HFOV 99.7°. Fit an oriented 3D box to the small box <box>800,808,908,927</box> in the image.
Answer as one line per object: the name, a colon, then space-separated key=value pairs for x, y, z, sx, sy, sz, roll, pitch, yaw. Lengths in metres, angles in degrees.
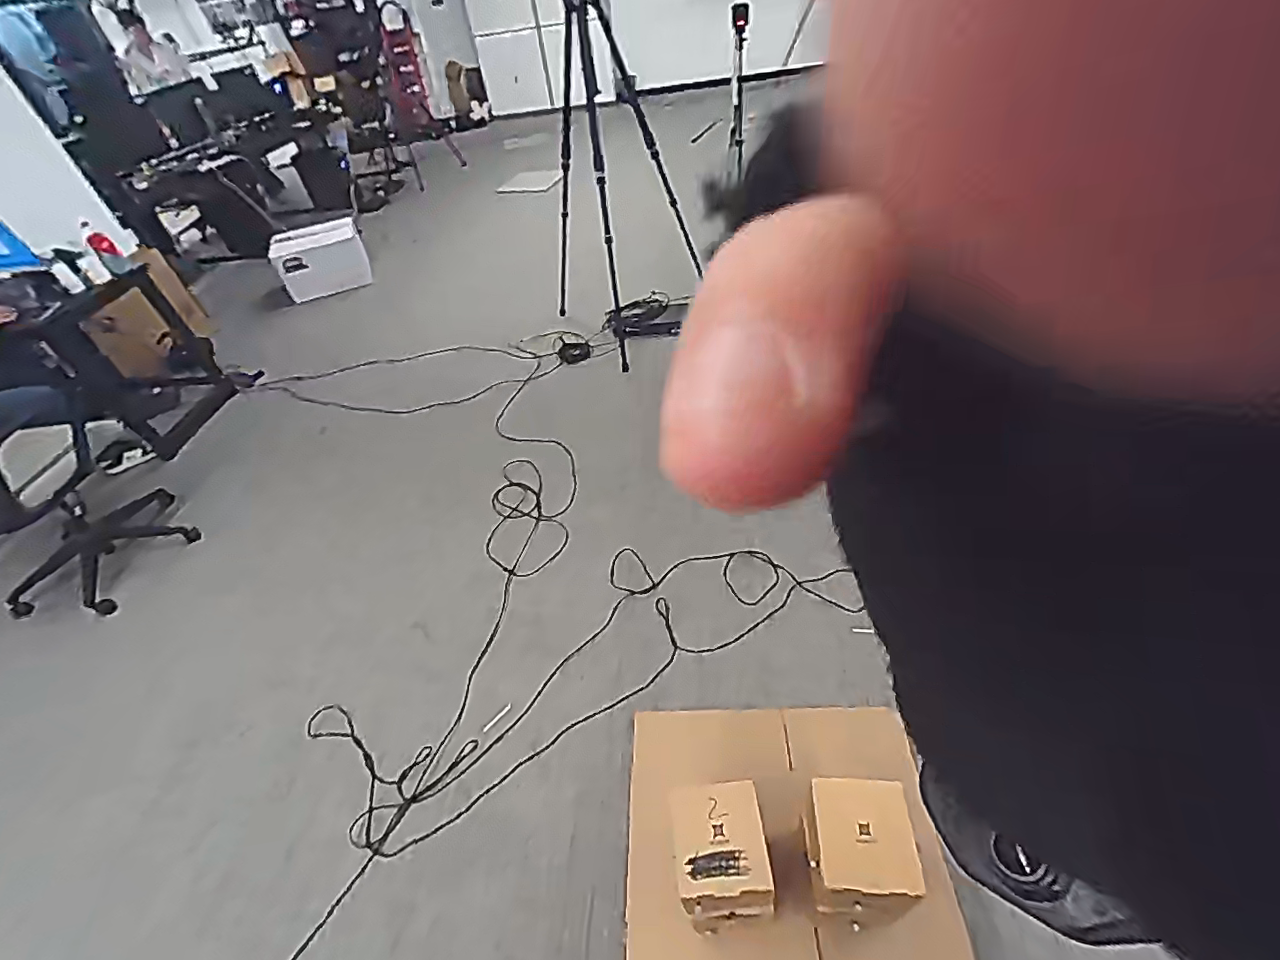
small box: x=0.431 y=0.802 z=1.122 sx=0.168 sy=0.176 sz=0.179 roll=-5 pitch=44 yaw=8

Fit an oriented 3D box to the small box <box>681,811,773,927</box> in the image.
small box: x=0.182 y=0.826 z=1.142 sx=0.168 sy=0.176 sz=0.179 roll=-7 pitch=44 yaw=4

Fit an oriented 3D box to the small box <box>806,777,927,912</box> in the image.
small box: x=0.411 y=0.682 z=1.014 sx=0.168 sy=0.176 sz=0.179 roll=-2 pitch=45 yaw=9
